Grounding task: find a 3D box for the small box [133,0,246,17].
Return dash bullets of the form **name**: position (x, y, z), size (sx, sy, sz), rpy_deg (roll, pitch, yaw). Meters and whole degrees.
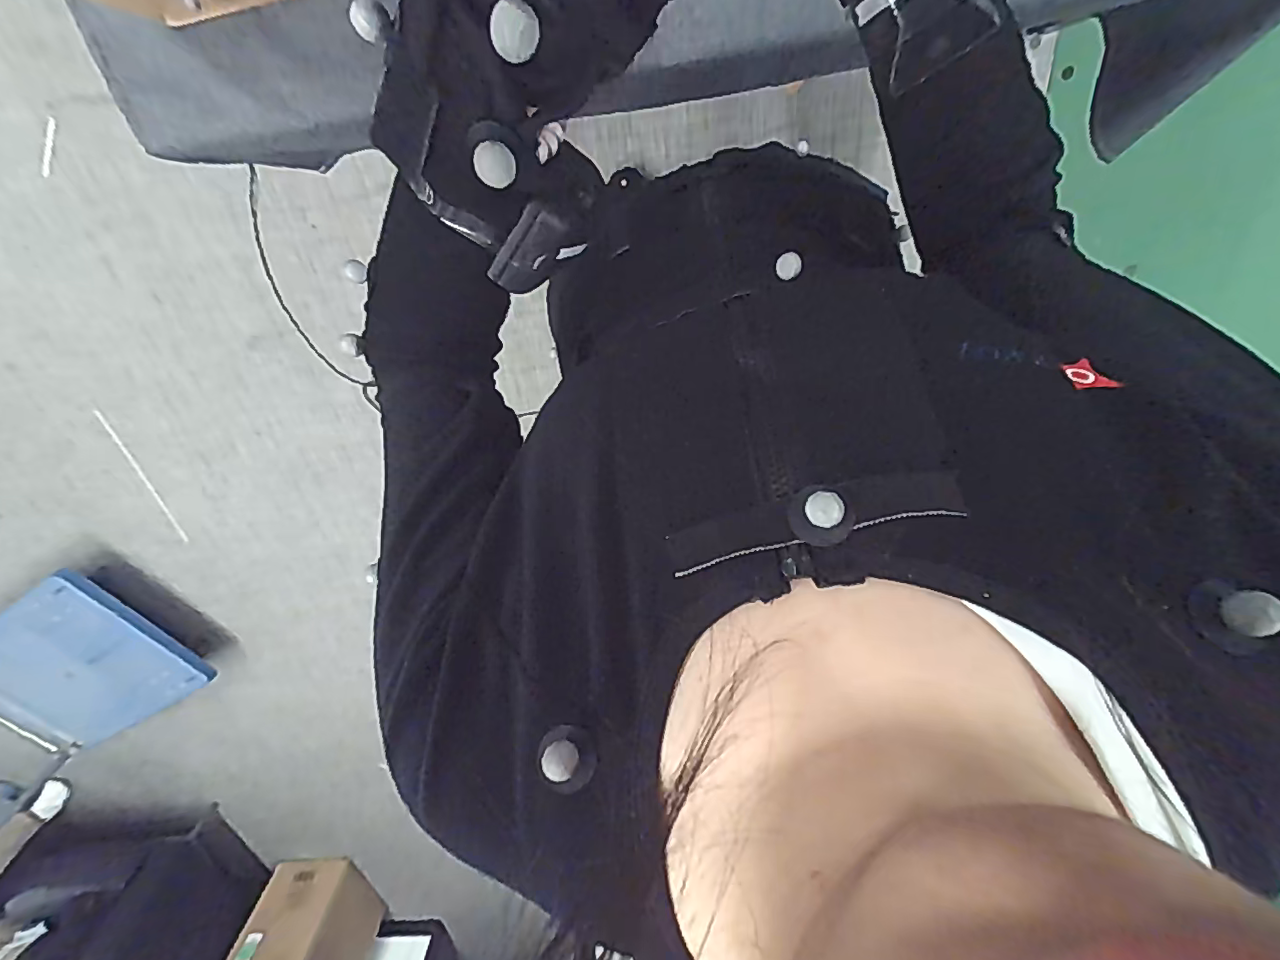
- **small box**: position (-0.411, -0.506, 0.421), size (0.168, 0.176, 0.179), rpy_deg (-8, 119, 7)
